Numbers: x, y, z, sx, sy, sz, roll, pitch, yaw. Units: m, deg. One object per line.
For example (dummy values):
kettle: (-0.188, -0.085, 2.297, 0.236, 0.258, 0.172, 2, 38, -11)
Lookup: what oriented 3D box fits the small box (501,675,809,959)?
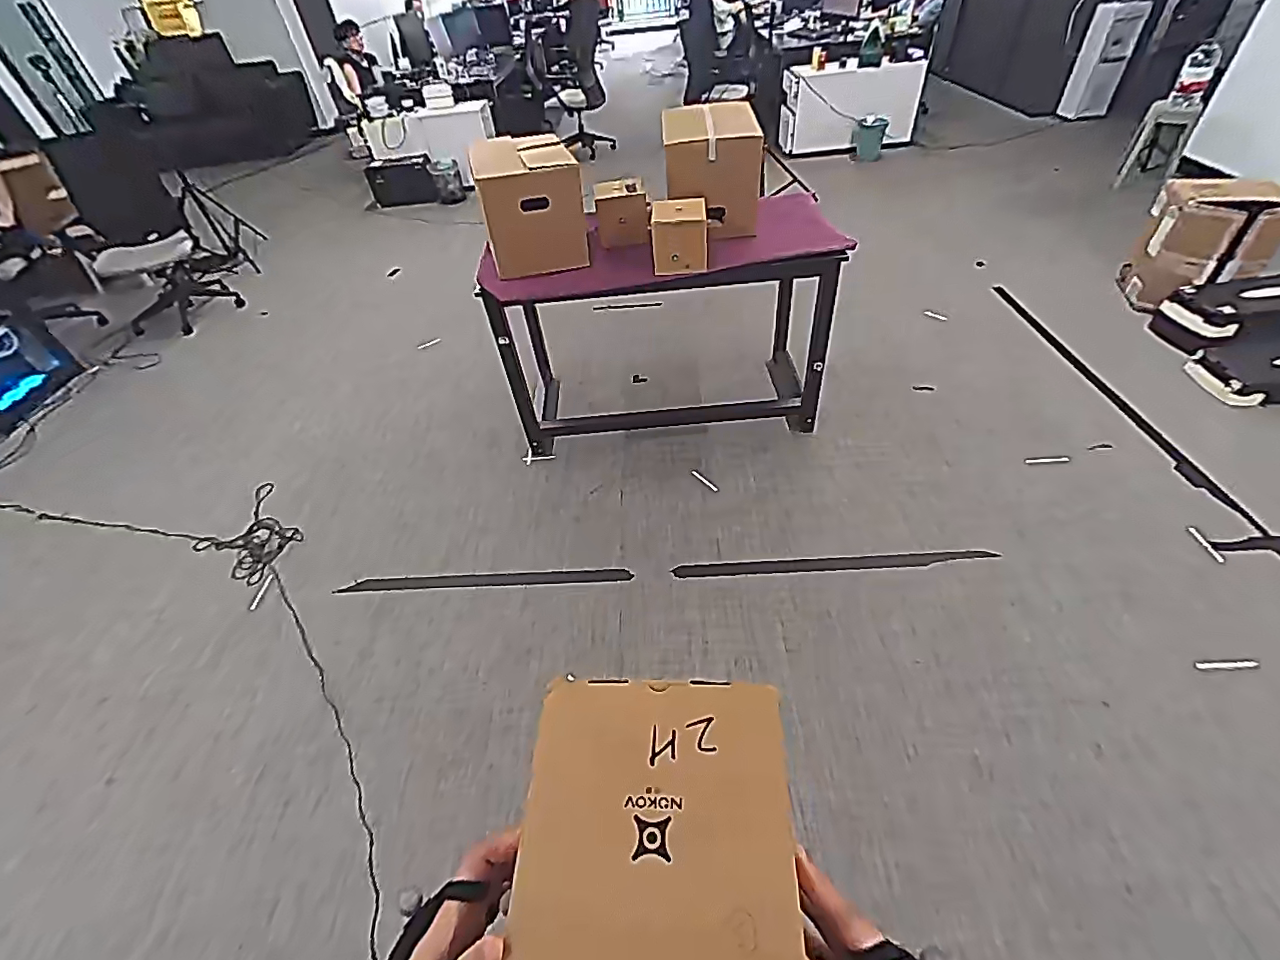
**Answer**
small box: (0.018, 0.257, 0.382, 0.168, 0.176, 0.179, -1, 48, 6)
